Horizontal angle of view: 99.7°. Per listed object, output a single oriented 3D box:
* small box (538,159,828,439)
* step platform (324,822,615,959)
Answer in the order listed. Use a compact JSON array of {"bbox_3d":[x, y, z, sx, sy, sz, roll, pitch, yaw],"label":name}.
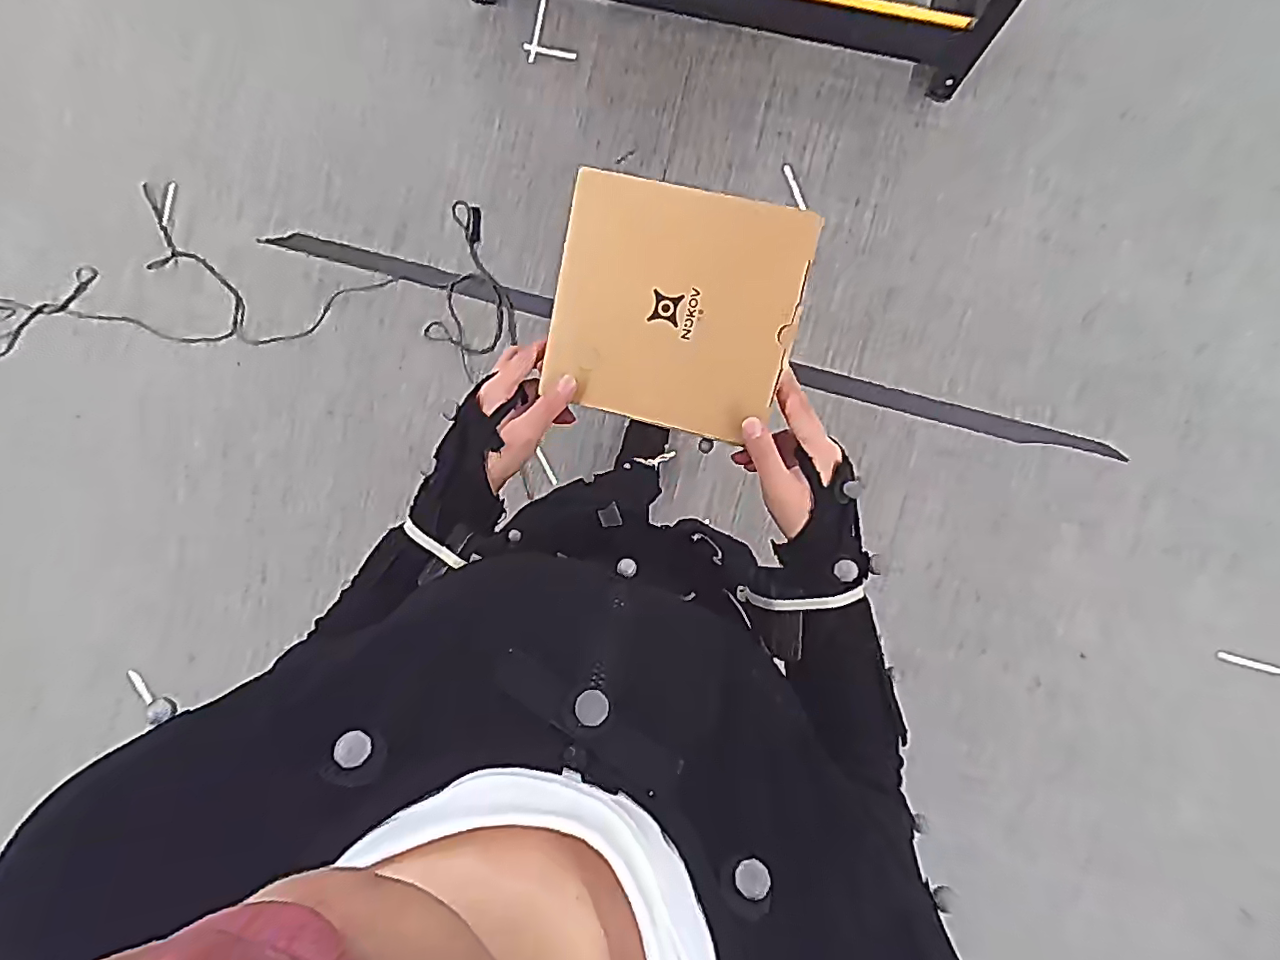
[{"bbox_3d":[0.036,-0.139,0.462,0.179,0.176,0.168,15,101,5],"label":"small box"},{"bbox_3d":[-0.417,1.136,1.352,0.684,0.204,0.286,15,94,3],"label":"step platform"}]
